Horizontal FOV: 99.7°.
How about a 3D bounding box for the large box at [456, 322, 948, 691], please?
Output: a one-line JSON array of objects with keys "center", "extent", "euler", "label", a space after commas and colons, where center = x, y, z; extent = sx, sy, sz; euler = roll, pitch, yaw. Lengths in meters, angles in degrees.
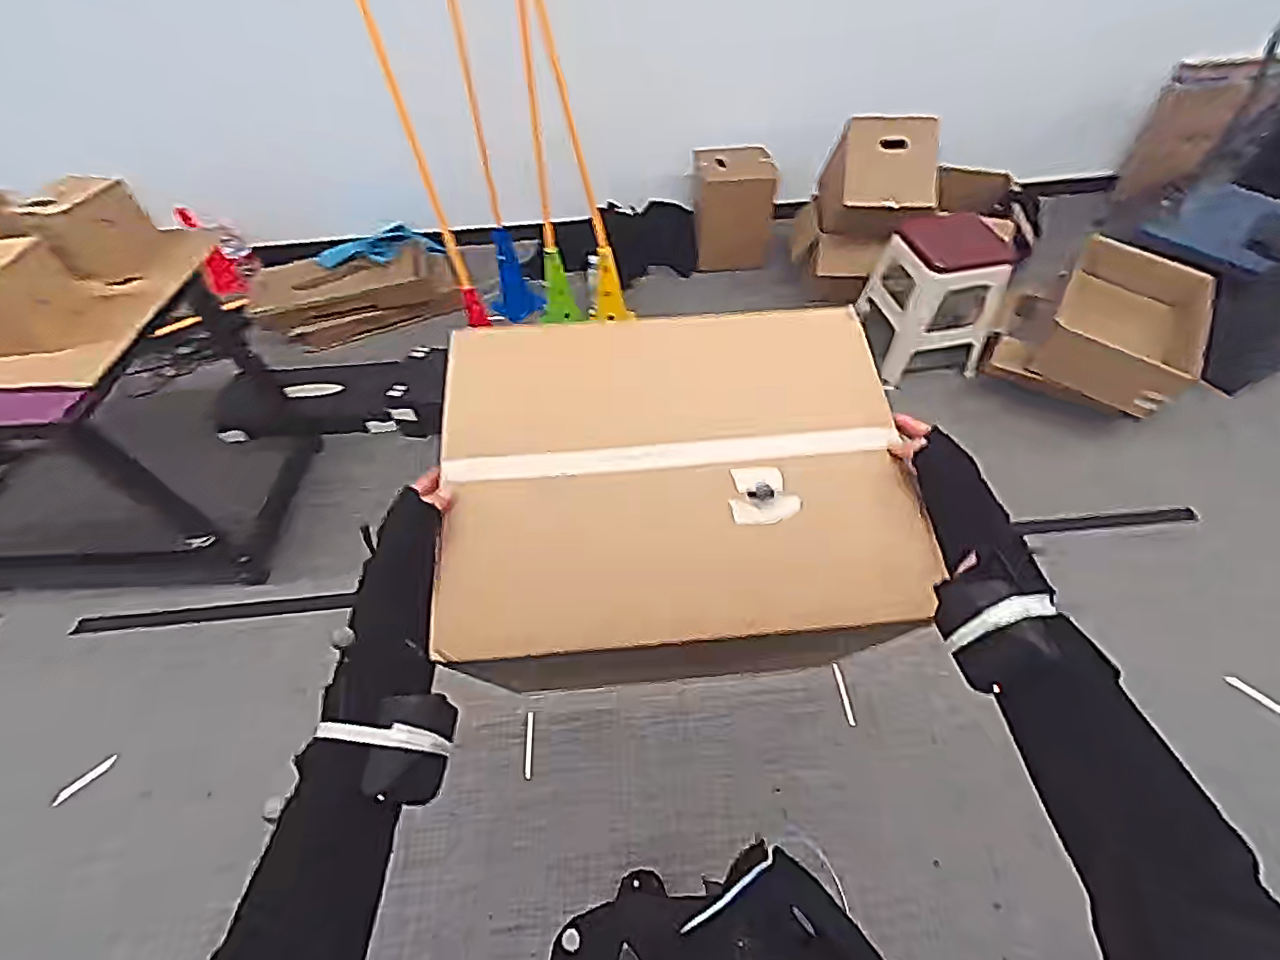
[{"center": [0.035, 0.049, 0.620], "extent": [0.408, 0.320, 0.320], "euler": [-3, 66, -4], "label": "large box"}]
